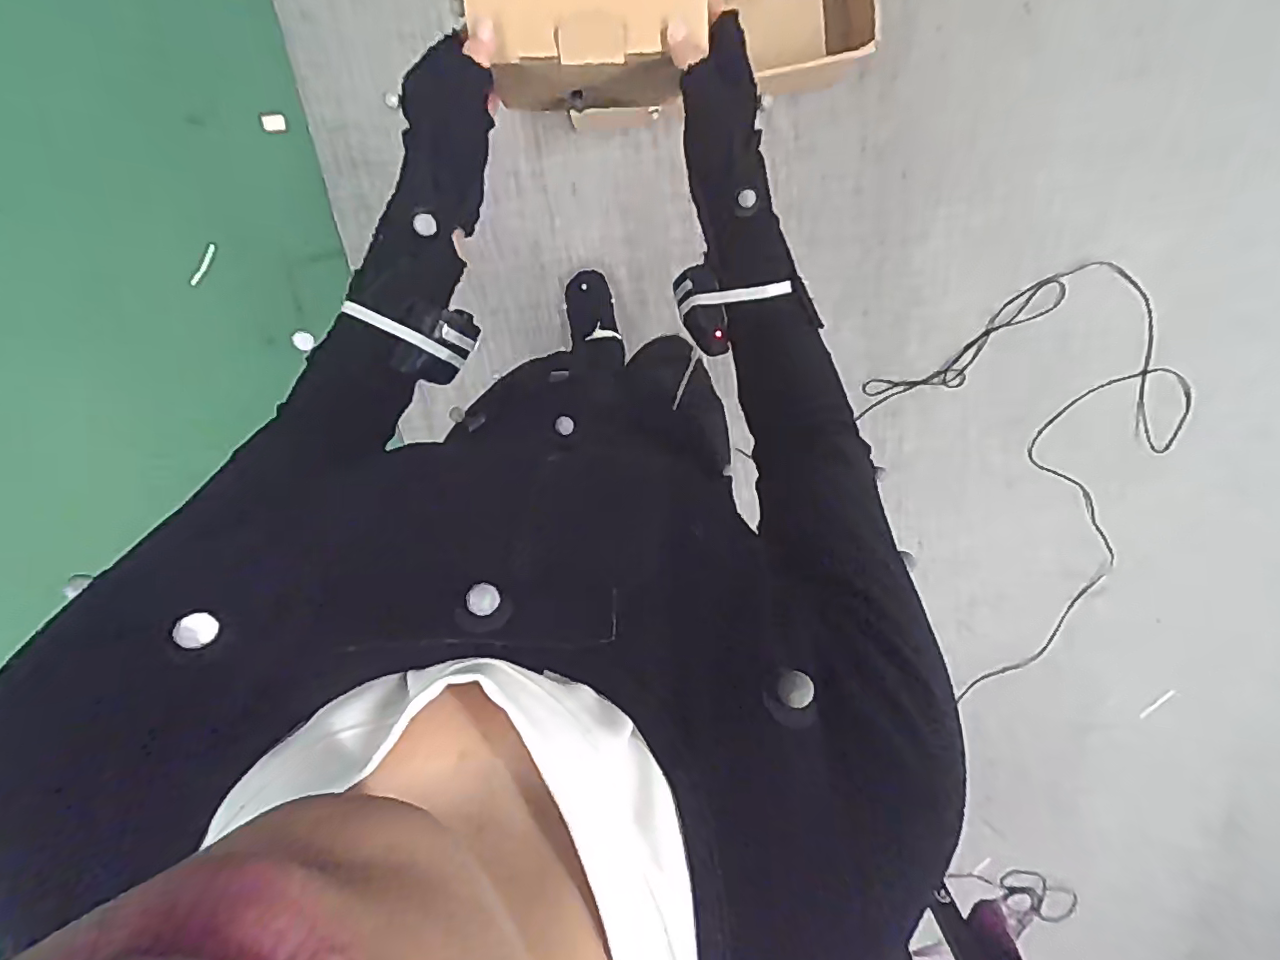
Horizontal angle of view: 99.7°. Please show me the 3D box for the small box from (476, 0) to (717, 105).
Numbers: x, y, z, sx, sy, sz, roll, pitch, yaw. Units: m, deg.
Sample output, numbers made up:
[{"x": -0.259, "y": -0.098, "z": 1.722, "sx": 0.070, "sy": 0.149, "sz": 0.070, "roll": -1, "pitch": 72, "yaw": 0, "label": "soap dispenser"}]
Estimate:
[{"x": -0.038, "y": -0.407, "z": 0.410, "sx": 0.168, "sy": 0.176, "sz": 0.179, "roll": -5, "pitch": 117, "yaw": -4, "label": "small box"}]
